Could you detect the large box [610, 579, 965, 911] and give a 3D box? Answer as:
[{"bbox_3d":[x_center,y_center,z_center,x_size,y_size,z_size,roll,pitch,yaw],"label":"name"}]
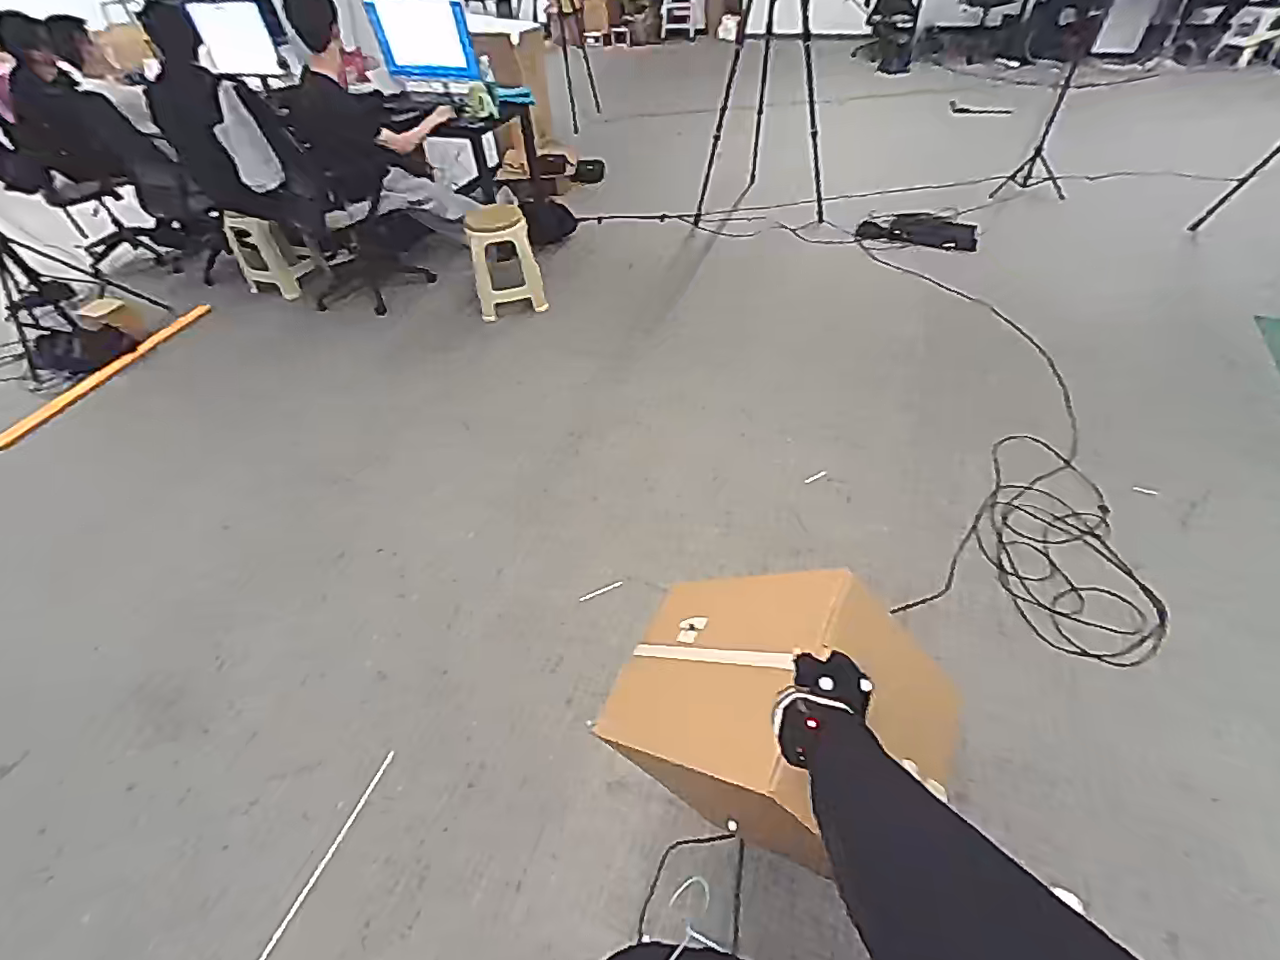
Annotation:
[{"bbox_3d":[0.229,0.391,0.877,0.320,0.408,0.320,45,58,-15],"label":"large box"}]
